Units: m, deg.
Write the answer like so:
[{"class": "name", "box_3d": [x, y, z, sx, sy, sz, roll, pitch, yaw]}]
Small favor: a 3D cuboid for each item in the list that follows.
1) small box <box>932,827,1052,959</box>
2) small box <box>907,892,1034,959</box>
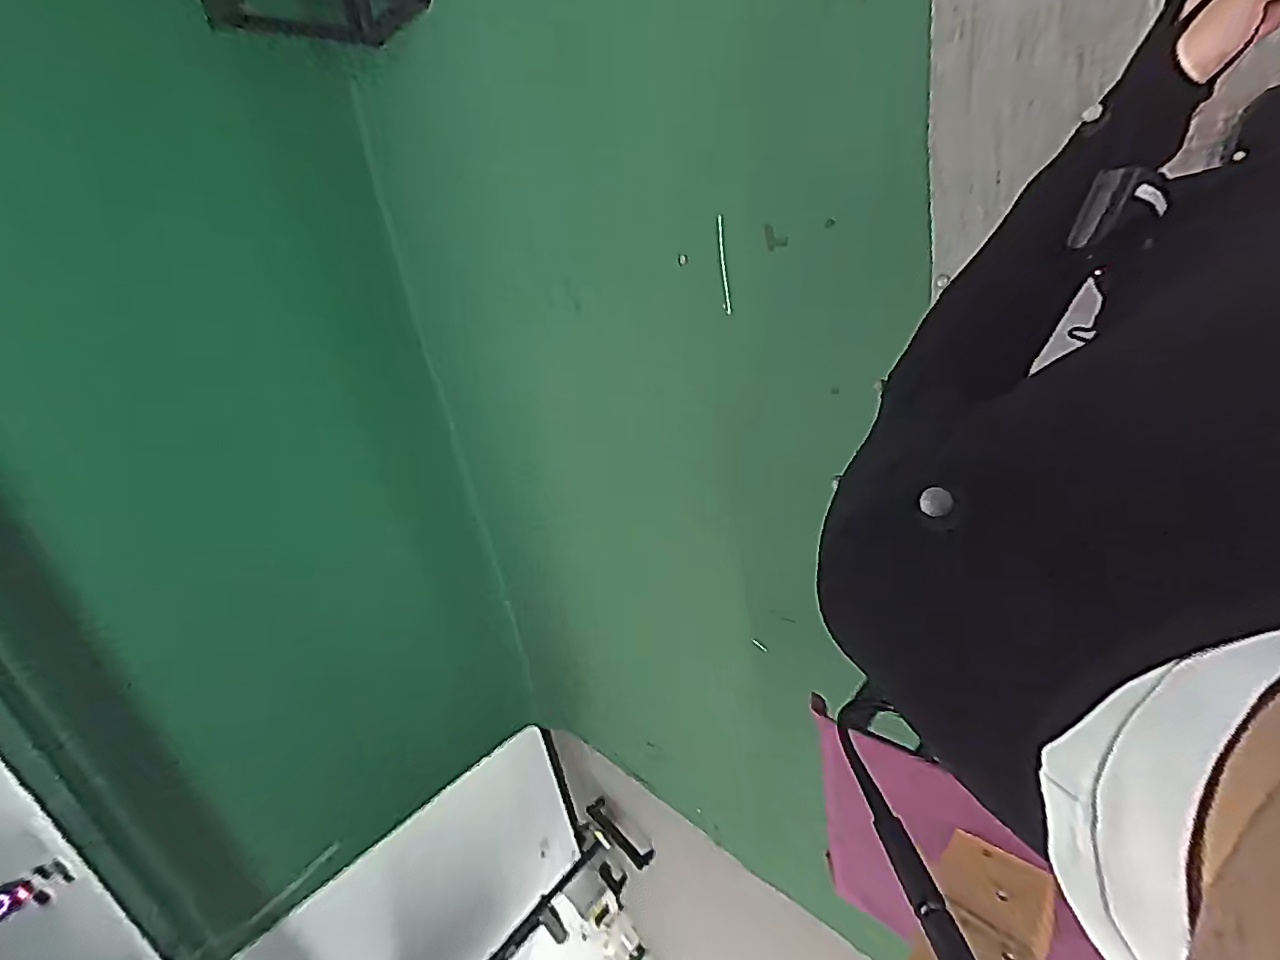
[{"class": "small box", "box_3d": [0.687, 0.833, 1.055, 0.168, 0.176, 0.179, 7, 118, 45]}, {"class": "small box", "box_3d": [0.573, 0.888, 0.949, 0.168, 0.176, 0.179, 11, 122, 44]}]
